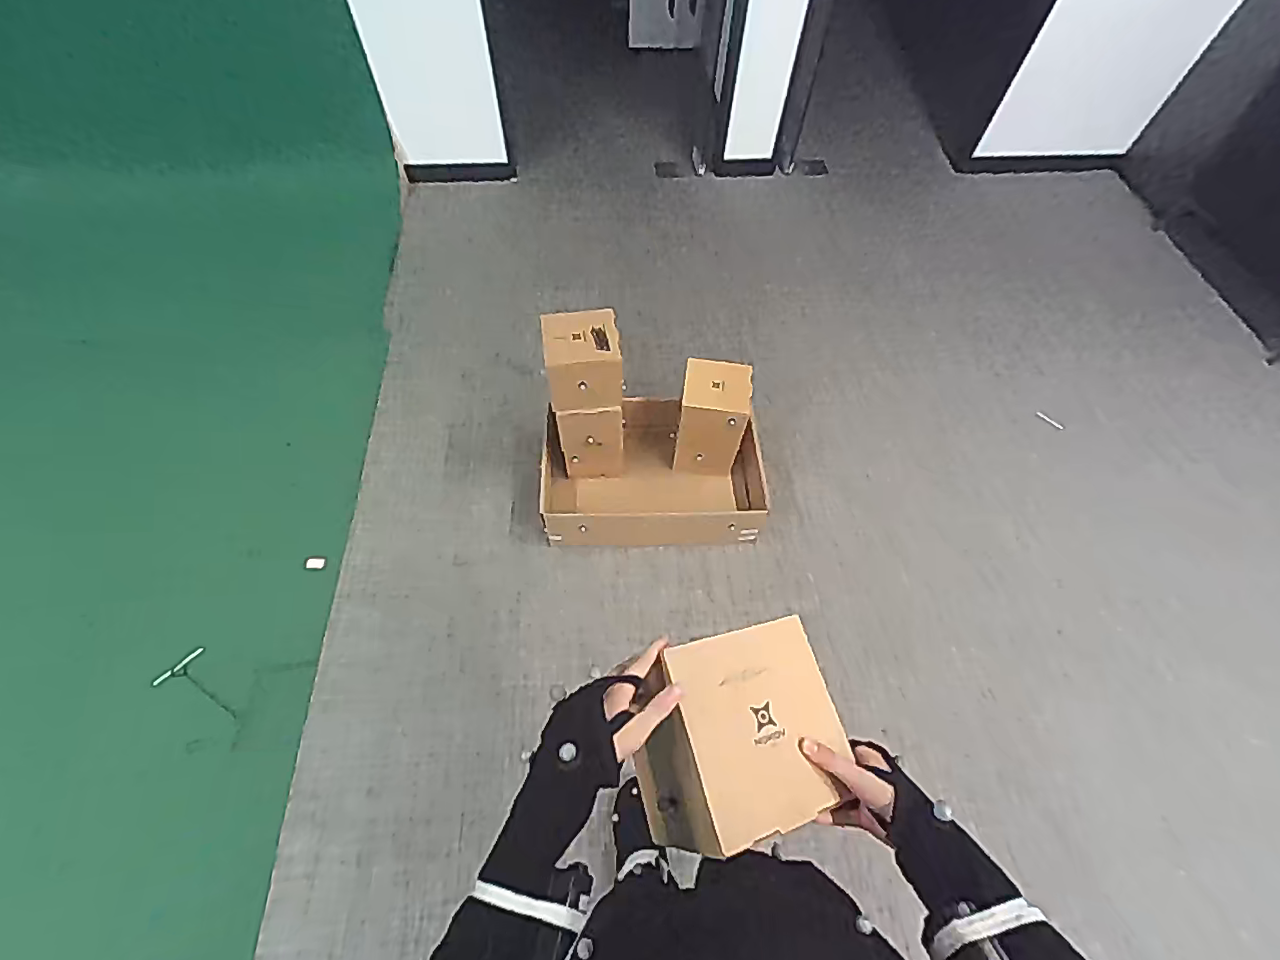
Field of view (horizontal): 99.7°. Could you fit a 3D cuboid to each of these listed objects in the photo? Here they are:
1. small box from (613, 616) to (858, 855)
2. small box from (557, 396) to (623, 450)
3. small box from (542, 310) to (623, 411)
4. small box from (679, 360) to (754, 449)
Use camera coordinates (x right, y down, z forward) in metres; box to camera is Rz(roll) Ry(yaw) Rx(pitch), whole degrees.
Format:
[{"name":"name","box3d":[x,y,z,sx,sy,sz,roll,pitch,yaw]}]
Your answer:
[{"name":"small box","box3d":[0.085,0.262,0.574,0.168,0.176,0.179,-5,64,-24]},{"name":"small box","box3d":[-0.134,-0.200,1.454,0.168,0.176,0.179,-4,61,-3]},{"name":"small box","box3d":[-0.137,-0.286,1.314,0.179,0.176,0.168,-7,60,-4]},{"name":"small box","box3d":[0.204,-0.201,1.469,0.179,0.176,0.168,8,61,3]}]
